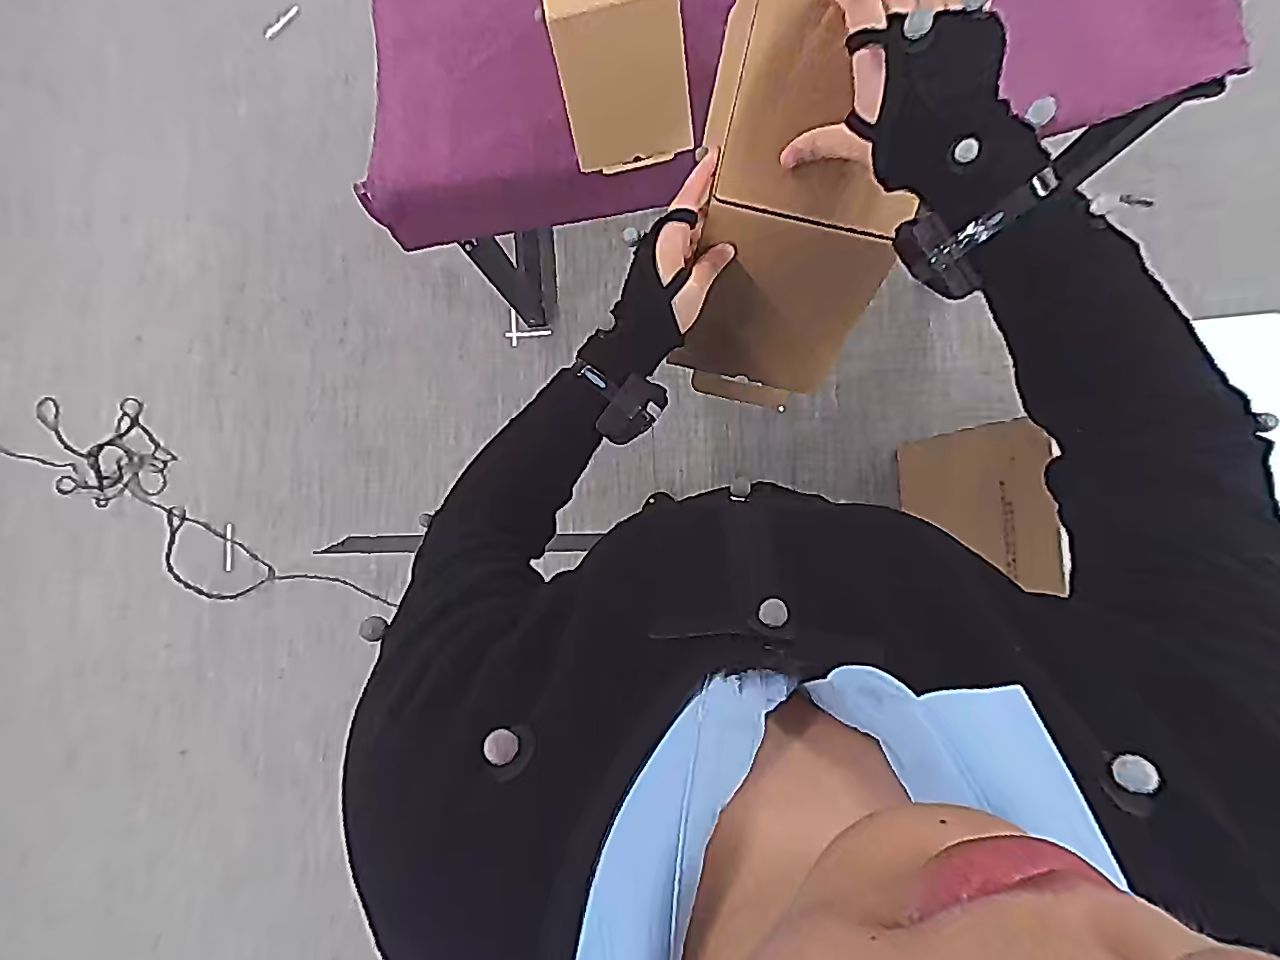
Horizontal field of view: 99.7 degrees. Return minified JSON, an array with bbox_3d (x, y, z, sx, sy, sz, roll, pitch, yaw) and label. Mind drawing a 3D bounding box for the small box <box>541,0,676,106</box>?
[{"bbox_3d":[-0.044,-0.653,0.740,0.168,0.176,0.179,-10,85,3],"label":"small box"}]
